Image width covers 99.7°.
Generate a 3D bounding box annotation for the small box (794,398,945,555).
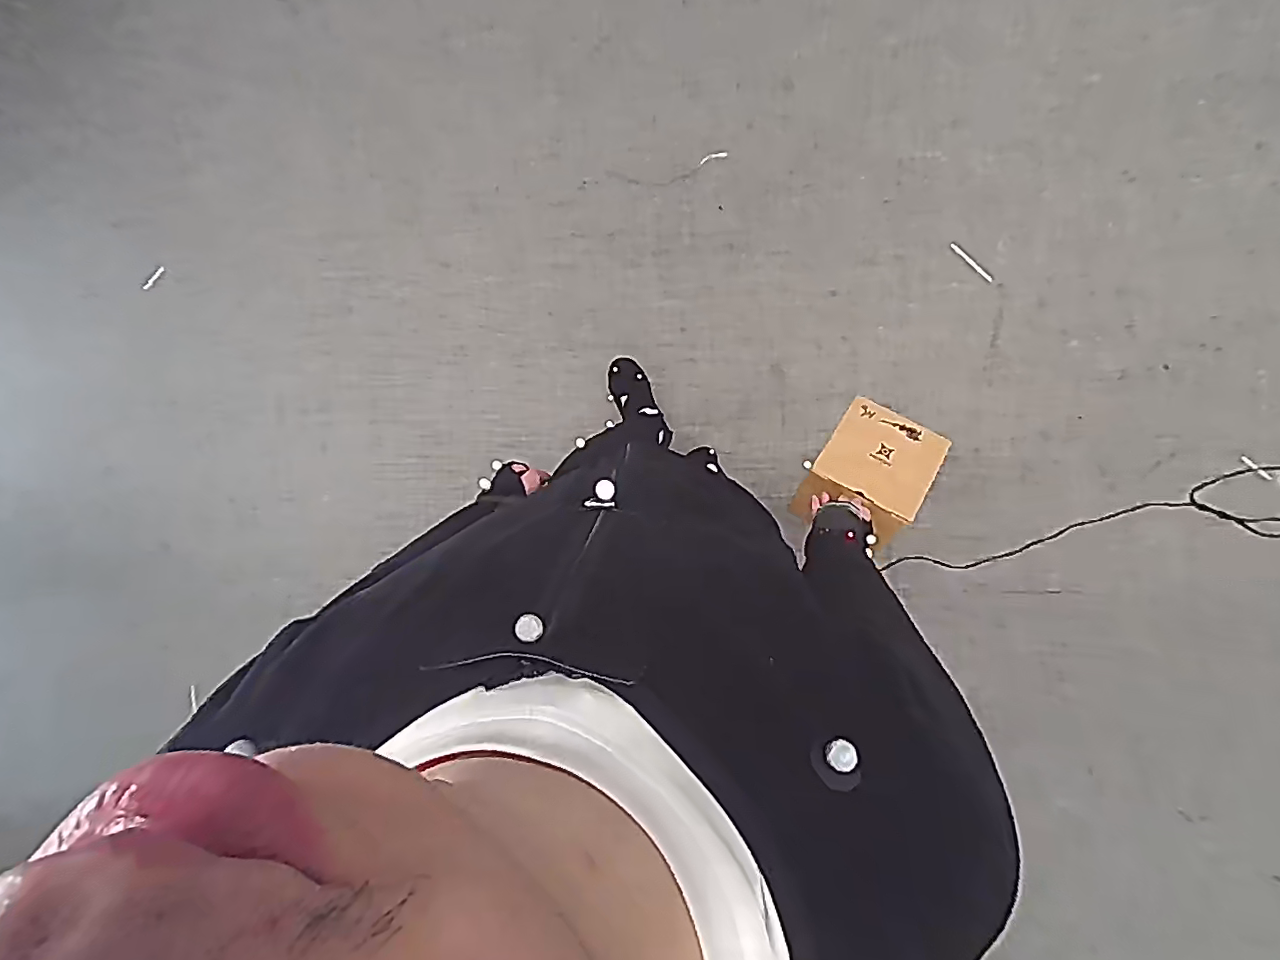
[{"bbox_3d":[0.380,0.001,0.928,0.168,0.176,0.179,29,66,16],"label":"small box"}]
